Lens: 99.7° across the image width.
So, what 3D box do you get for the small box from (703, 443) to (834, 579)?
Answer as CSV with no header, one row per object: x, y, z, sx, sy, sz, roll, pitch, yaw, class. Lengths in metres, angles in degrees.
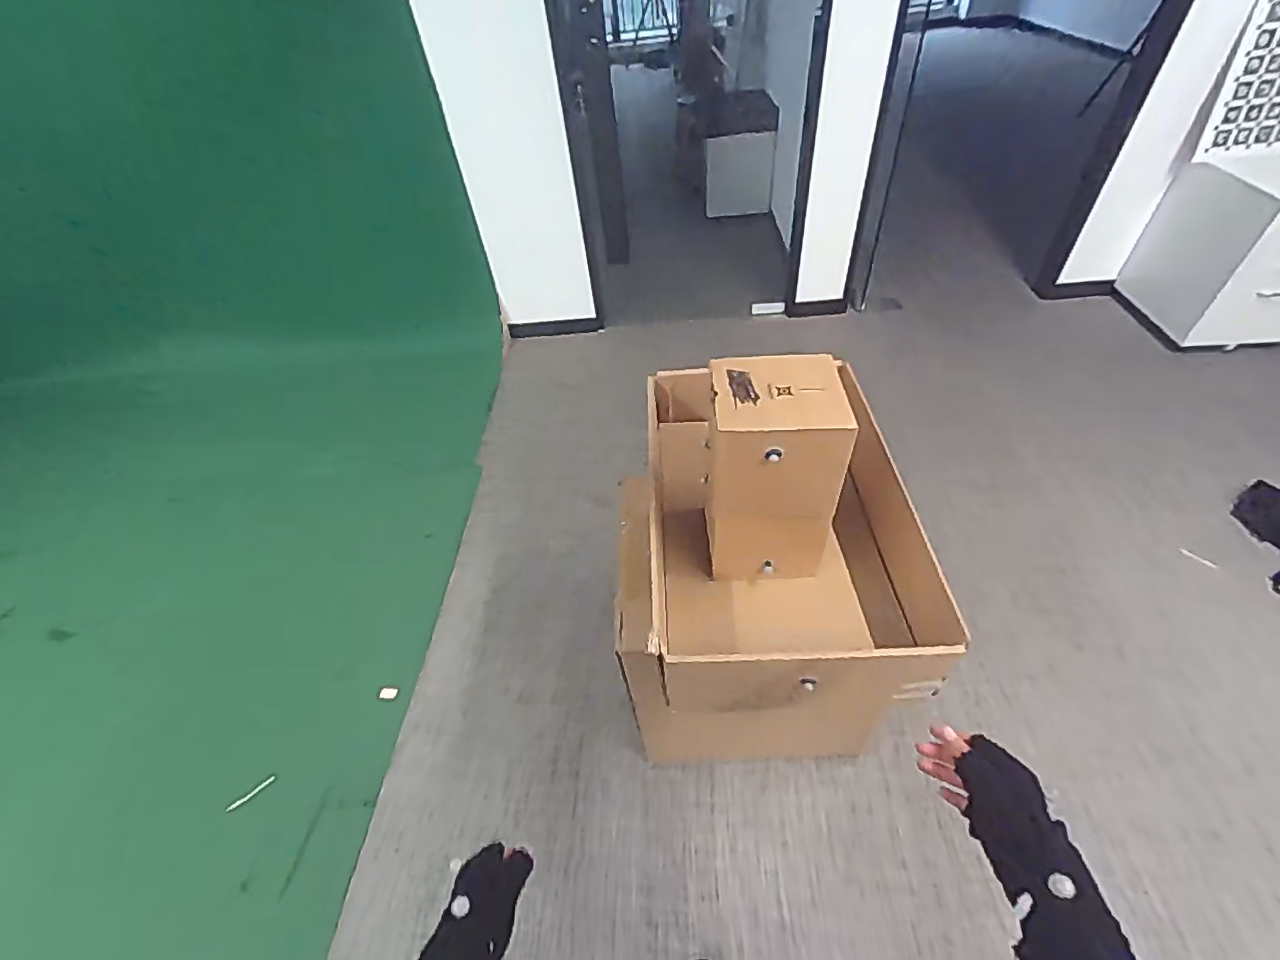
0.201,0.050,0.900,0.179,0.176,0.168,-2,44,2,small box

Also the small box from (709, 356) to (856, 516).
0.190,-0.062,0.780,0.179,0.176,0.168,0,46,4,small box
